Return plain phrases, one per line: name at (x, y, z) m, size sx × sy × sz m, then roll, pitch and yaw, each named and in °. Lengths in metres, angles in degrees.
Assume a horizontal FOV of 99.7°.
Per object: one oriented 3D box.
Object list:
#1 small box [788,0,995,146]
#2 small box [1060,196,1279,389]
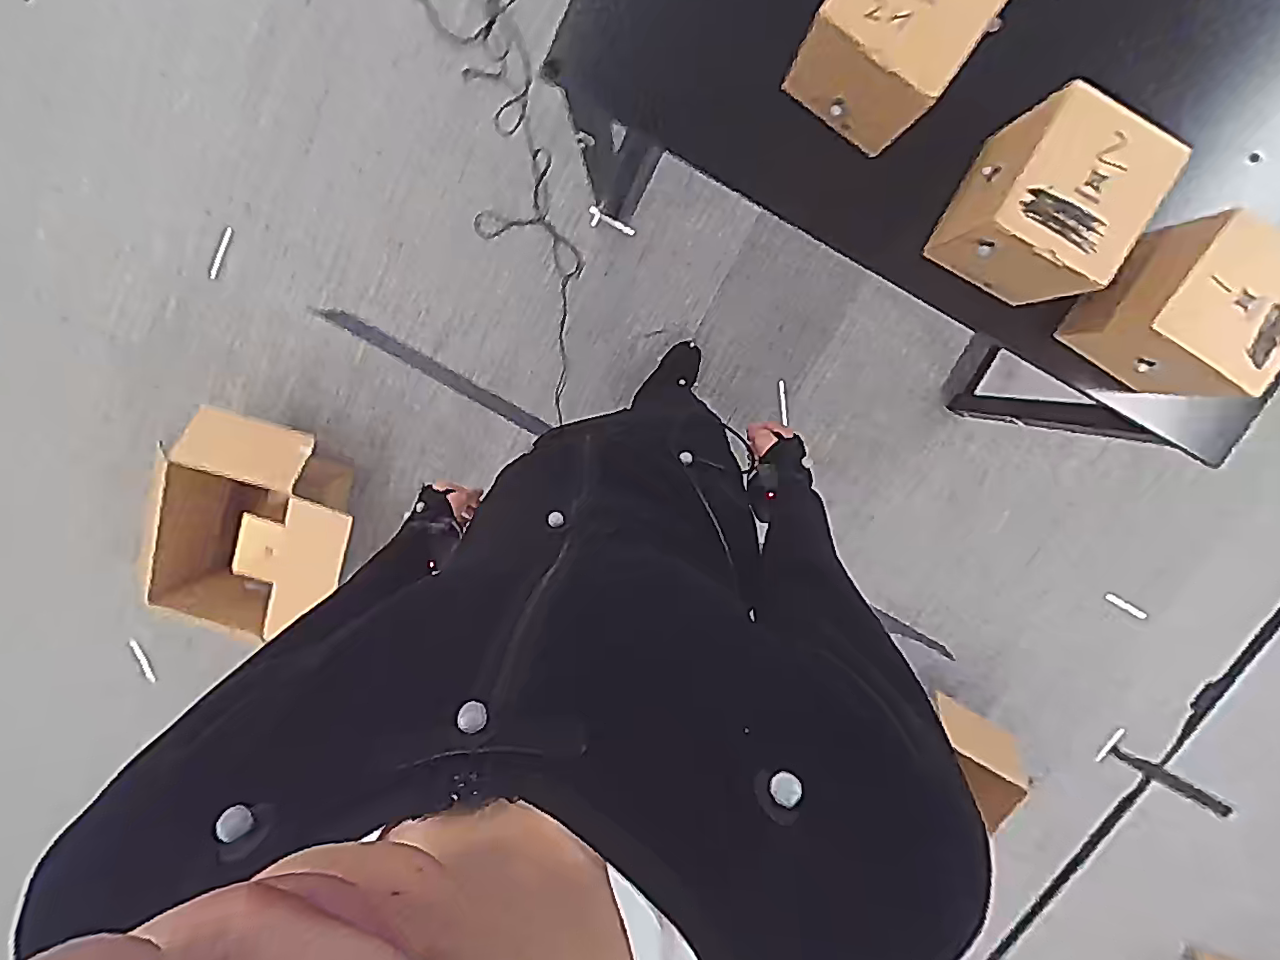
small box at (0.308, -0.565, 0.665) m, size 0.168 × 0.176 × 0.179 m, roll 33°, pitch 100°, yaw -6°
small box at (0.738, -0.239, 0.729) m, size 0.179 × 0.176 × 0.168 m, roll 30°, pitch 100°, yaw -4°
